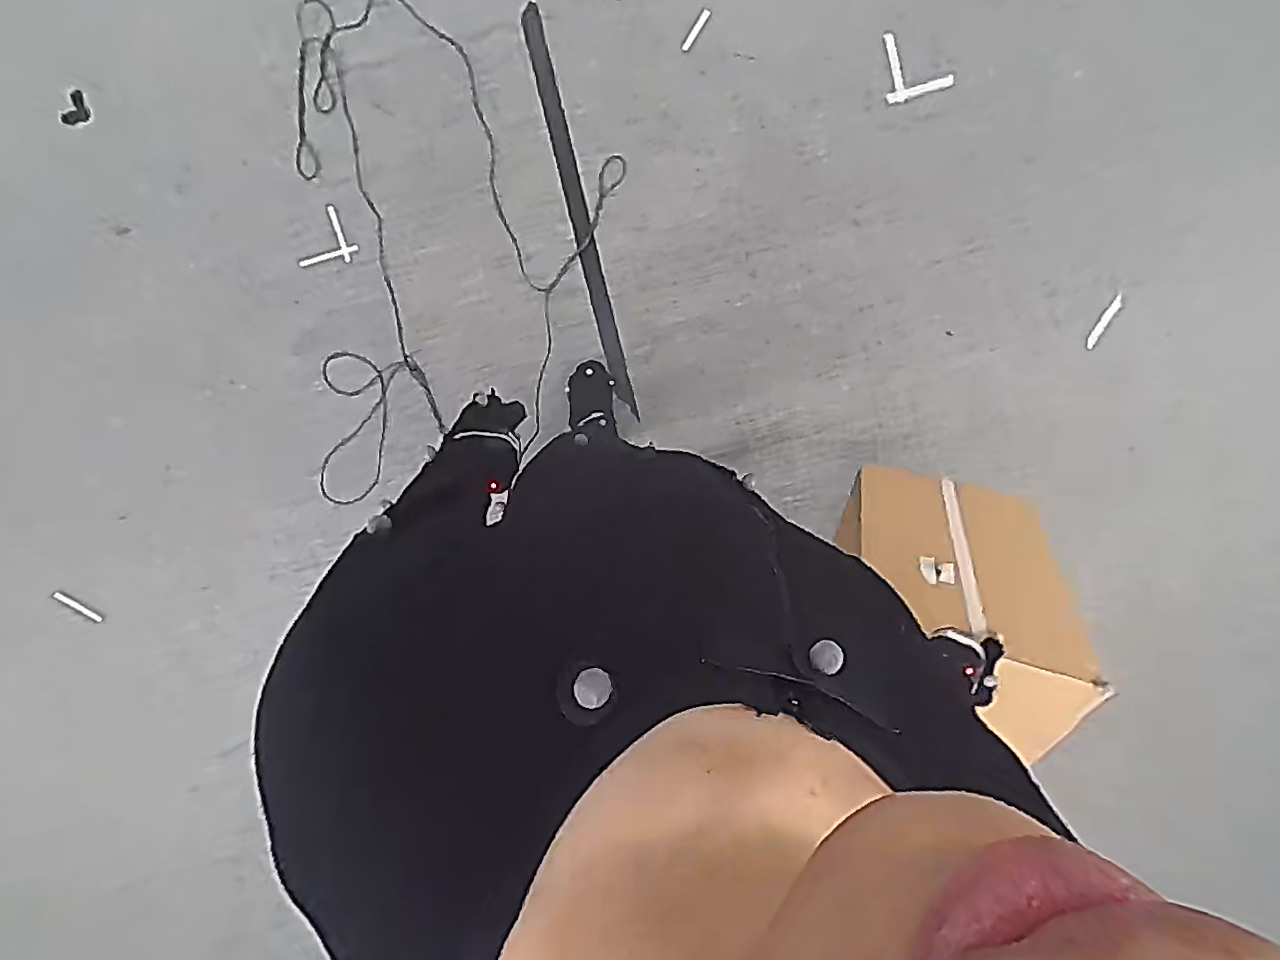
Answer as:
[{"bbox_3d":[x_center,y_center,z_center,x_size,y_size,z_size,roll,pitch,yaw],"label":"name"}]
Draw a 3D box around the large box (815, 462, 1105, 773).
[{"bbox_3d":[0.514,0.228,0.982,0.320,0.408,0.320,12,130,12],"label":"large box"}]
